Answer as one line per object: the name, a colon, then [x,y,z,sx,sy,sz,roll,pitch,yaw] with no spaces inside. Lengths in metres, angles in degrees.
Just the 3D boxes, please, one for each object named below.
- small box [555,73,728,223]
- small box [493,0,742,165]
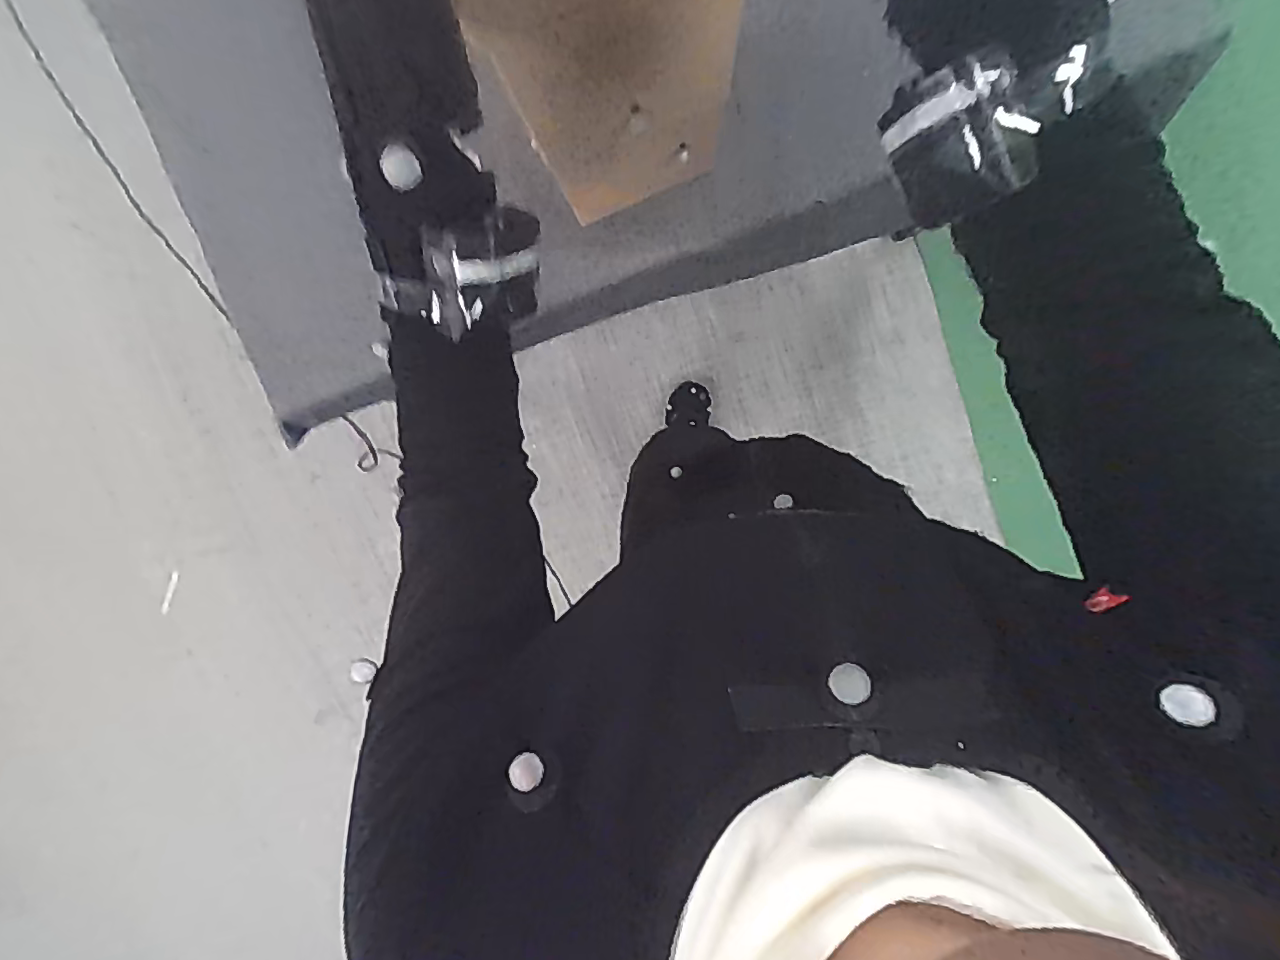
small box: [-0.022,-0.408,0.573,0.179,0.176,0.168,-22,94,7]
small box: [-0.031,-0.383,0.411,0.179,0.176,0.168,-19,94,5]
